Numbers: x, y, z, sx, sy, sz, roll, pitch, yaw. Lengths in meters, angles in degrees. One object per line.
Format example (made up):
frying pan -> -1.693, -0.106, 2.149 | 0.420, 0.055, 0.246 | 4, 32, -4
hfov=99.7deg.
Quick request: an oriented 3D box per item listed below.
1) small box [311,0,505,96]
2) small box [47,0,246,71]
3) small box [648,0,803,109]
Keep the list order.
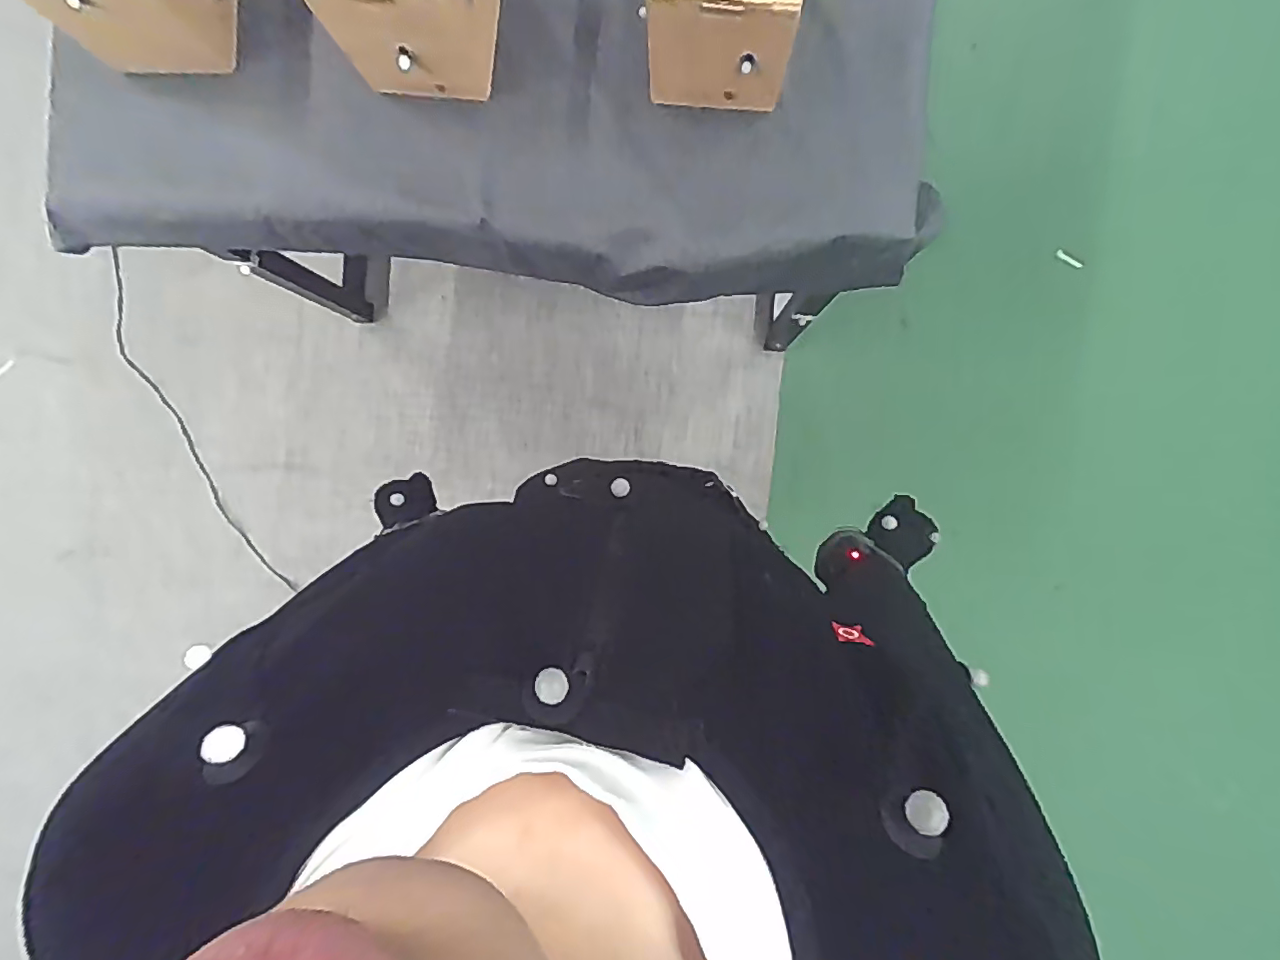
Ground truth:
small box -> -0.274, -0.613, 0.663 | 0.168, 0.176, 0.179 | 7, 92, 3
small box -> -0.641, -0.656, 0.680 | 0.179, 0.176, 0.168 | 2, 91, 2
small box -> 0.103, -0.583, 0.644 | 0.168, 0.176, 0.179 | 6, 90, 2
